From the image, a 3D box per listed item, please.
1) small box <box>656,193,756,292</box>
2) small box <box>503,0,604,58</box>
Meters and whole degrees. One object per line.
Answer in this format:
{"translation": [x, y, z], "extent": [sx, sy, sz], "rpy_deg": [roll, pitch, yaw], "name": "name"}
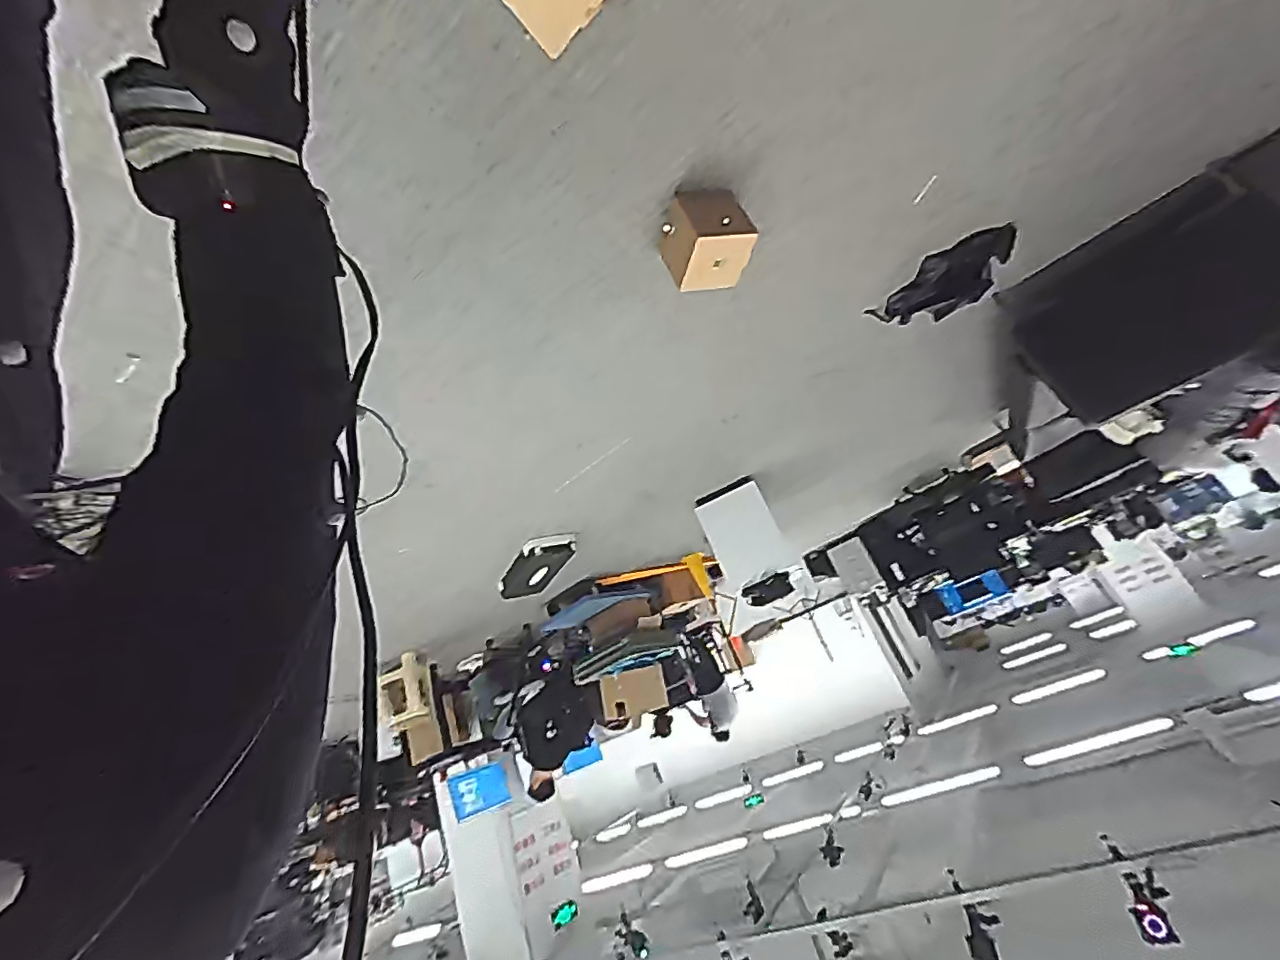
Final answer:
{"translation": [0.162, -0.611, 1.387], "extent": [0.179, 0.176, 0.168], "rpy_deg": [-13, 154, -20], "name": "small box"}
{"translation": [-0.149, -0.769, 0.761], "extent": [0.168, 0.176, 0.179], "rpy_deg": [-34, 155, 25], "name": "small box"}
